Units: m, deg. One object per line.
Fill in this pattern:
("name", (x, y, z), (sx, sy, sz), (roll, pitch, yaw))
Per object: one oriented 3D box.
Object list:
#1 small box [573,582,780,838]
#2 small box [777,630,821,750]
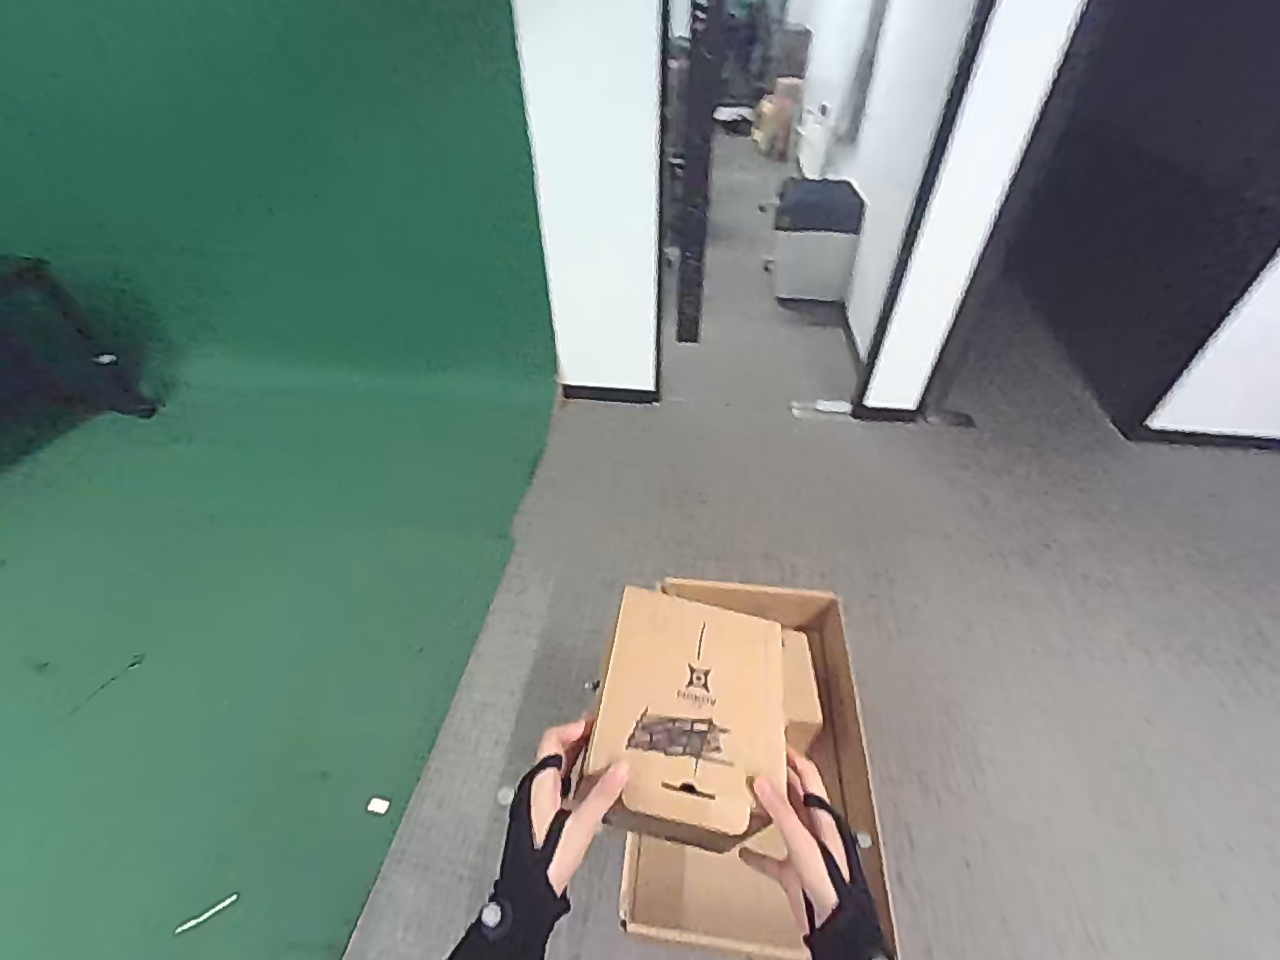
("small box", (0.033, 0.236, 0.546), (0.168, 0.176, 0.179), (14, 45, -2))
("small box", (0.244, 0.413, 1.064), (0.168, 0.176, 0.179), (2, 46, 2))
